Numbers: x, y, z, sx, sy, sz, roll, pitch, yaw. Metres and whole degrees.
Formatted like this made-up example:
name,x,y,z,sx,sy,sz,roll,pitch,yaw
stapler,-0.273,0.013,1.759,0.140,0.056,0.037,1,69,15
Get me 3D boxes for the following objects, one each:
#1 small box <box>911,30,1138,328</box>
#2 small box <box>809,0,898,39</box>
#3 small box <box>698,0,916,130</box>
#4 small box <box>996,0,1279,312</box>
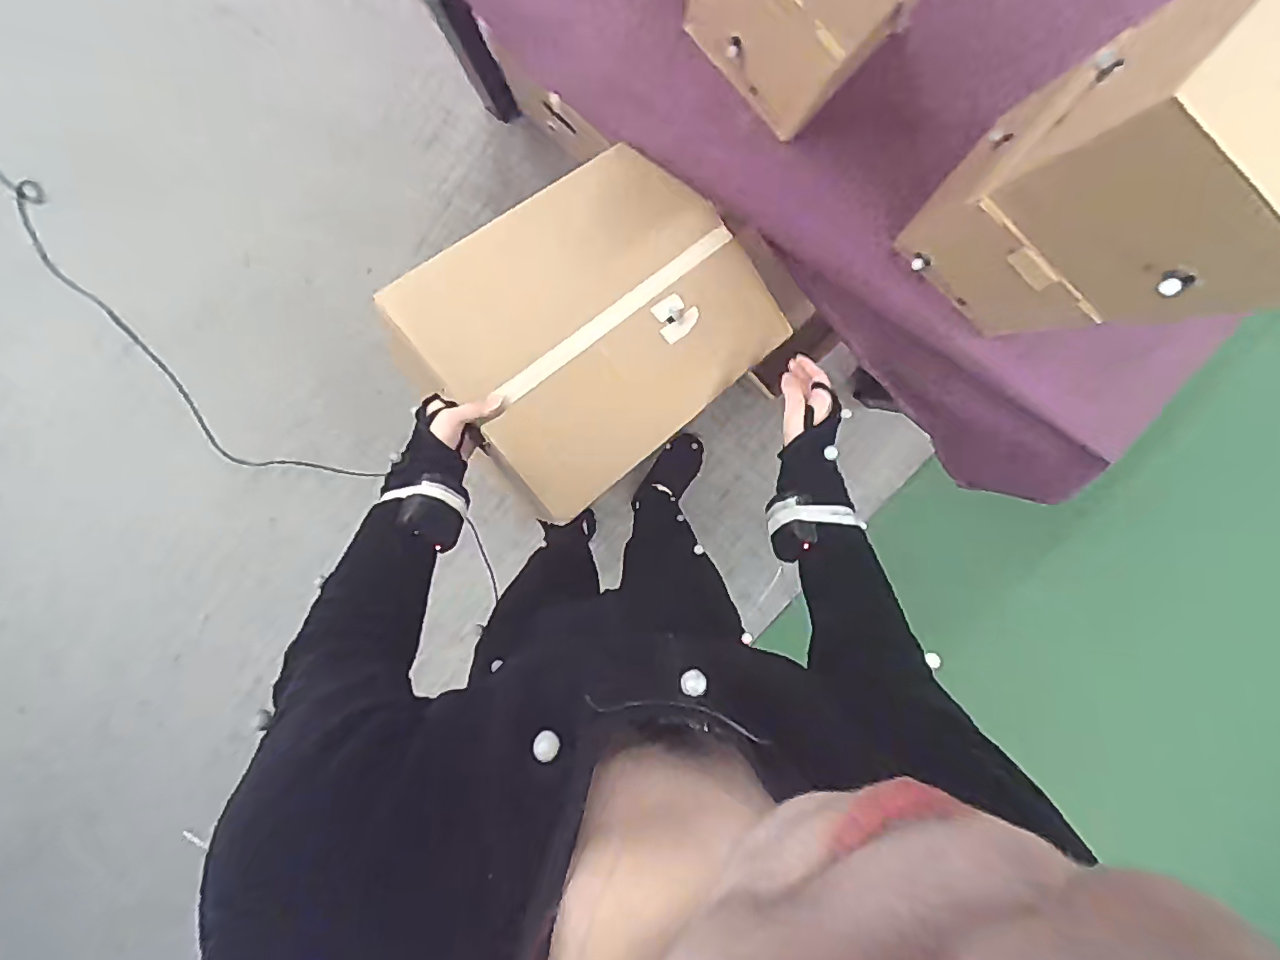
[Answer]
name,x,y,z,sx,sy,sz,roll,pitch,yaw
small box,0.412,-0.275,0.549,0.168,0.176,0.179,39,98,-8
small box,0.179,-0.453,0.342,0.179,0.176,0.168,-43,99,9
small box,0.171,-0.483,0.504,0.168,0.176,0.179,44,99,-9
small box,0.419,-0.240,0.390,0.179,0.176,0.168,40,98,-8
